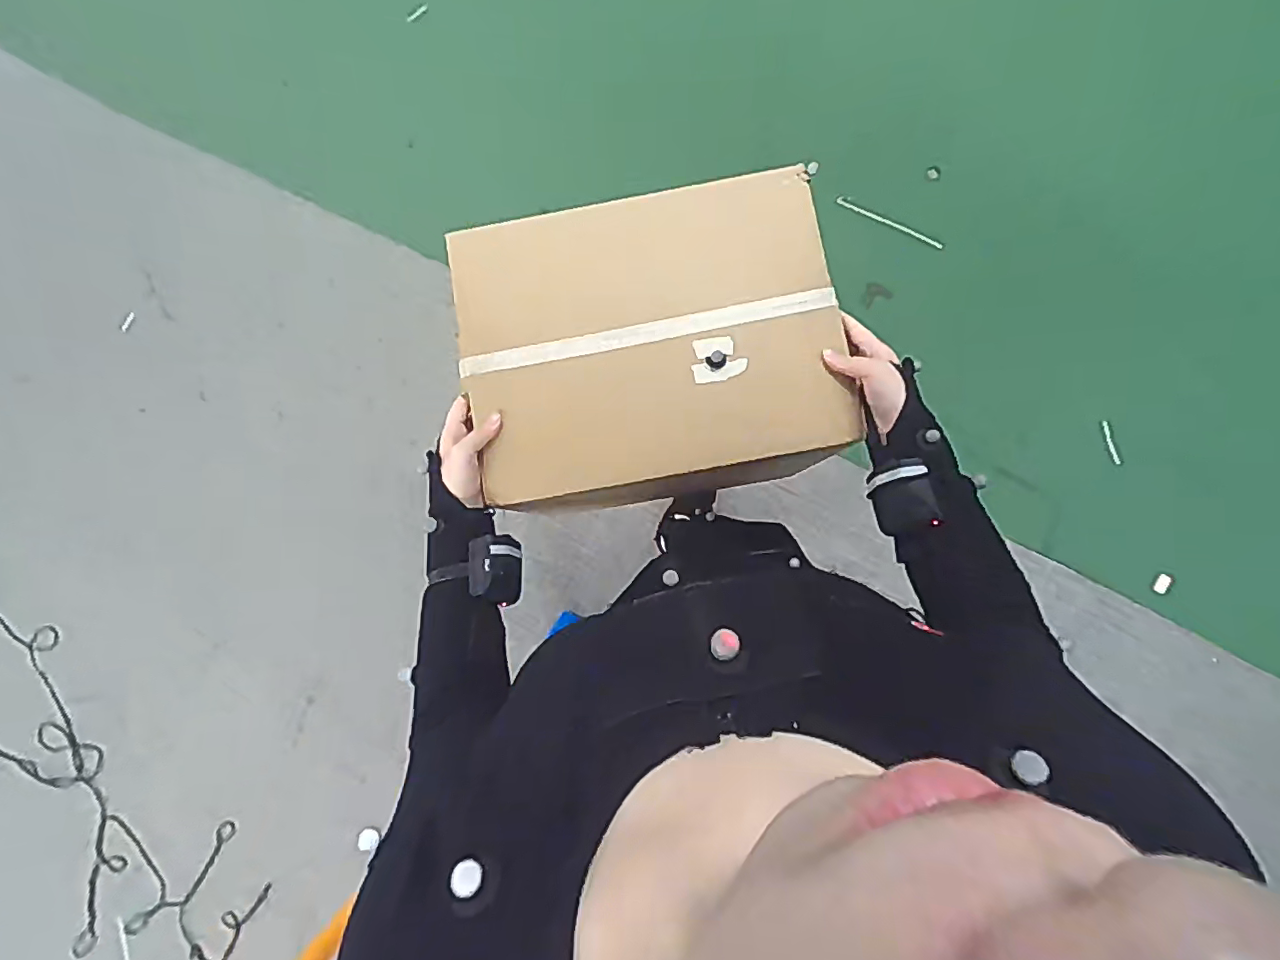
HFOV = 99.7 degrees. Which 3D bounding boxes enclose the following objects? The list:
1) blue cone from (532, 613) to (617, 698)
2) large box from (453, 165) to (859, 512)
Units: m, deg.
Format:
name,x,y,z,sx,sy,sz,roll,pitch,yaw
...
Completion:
name,x,y,z,sx,sy,sz,roll,pitch,yaw
blue cone,-0.200,0.474,1.335,0.193,0.380,0.192,36,89,7
large box,0.013,-0.150,0.733,0.408,0.320,0.320,-10,84,0
